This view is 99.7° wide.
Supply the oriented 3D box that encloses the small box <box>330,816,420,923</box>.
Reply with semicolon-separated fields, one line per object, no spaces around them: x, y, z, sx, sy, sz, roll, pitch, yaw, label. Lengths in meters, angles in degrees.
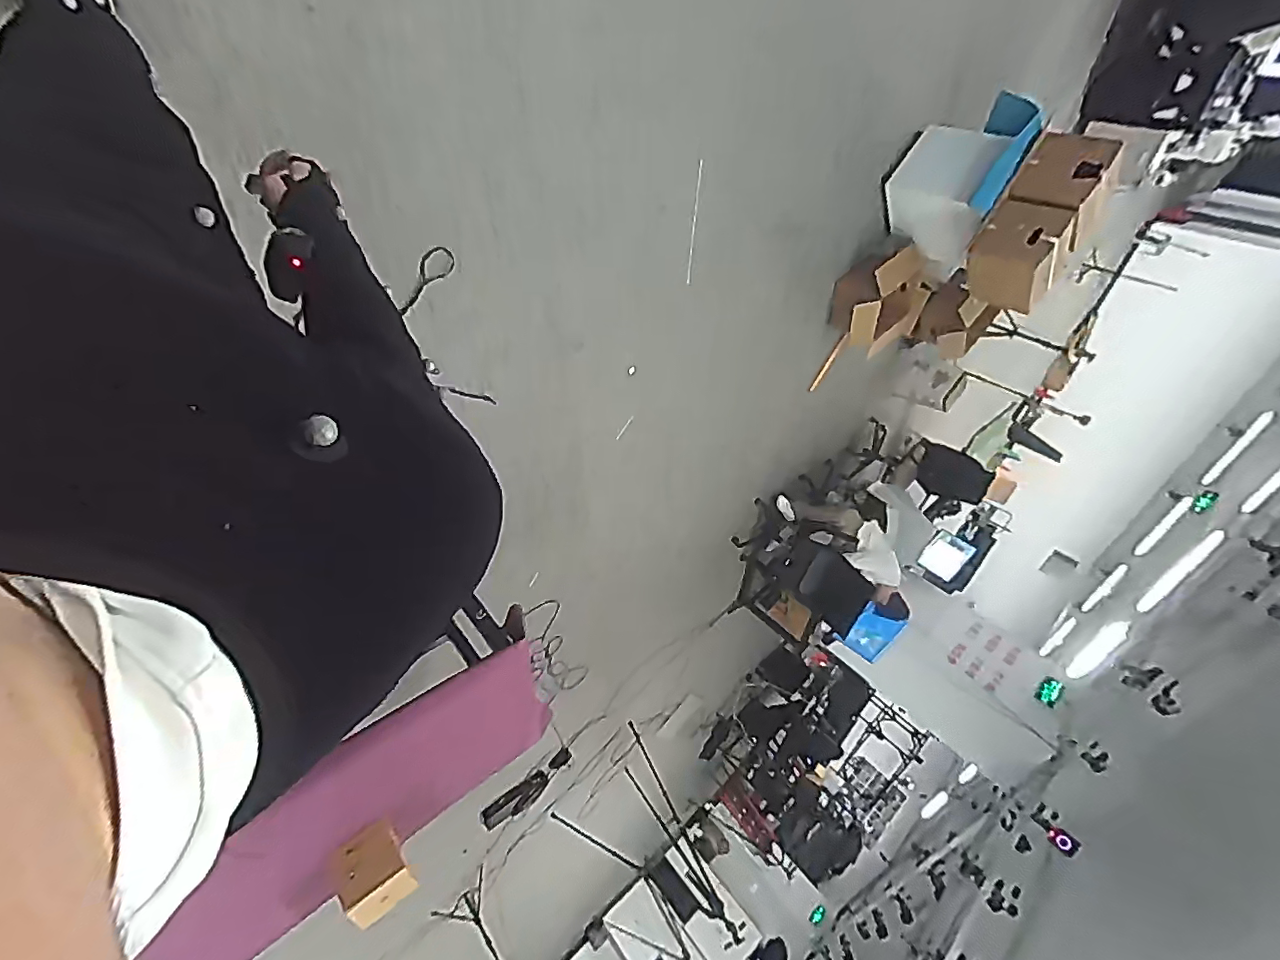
-0.764;1.115;1.559;0.168;0.176;0.179;-27;139;-31;small box
